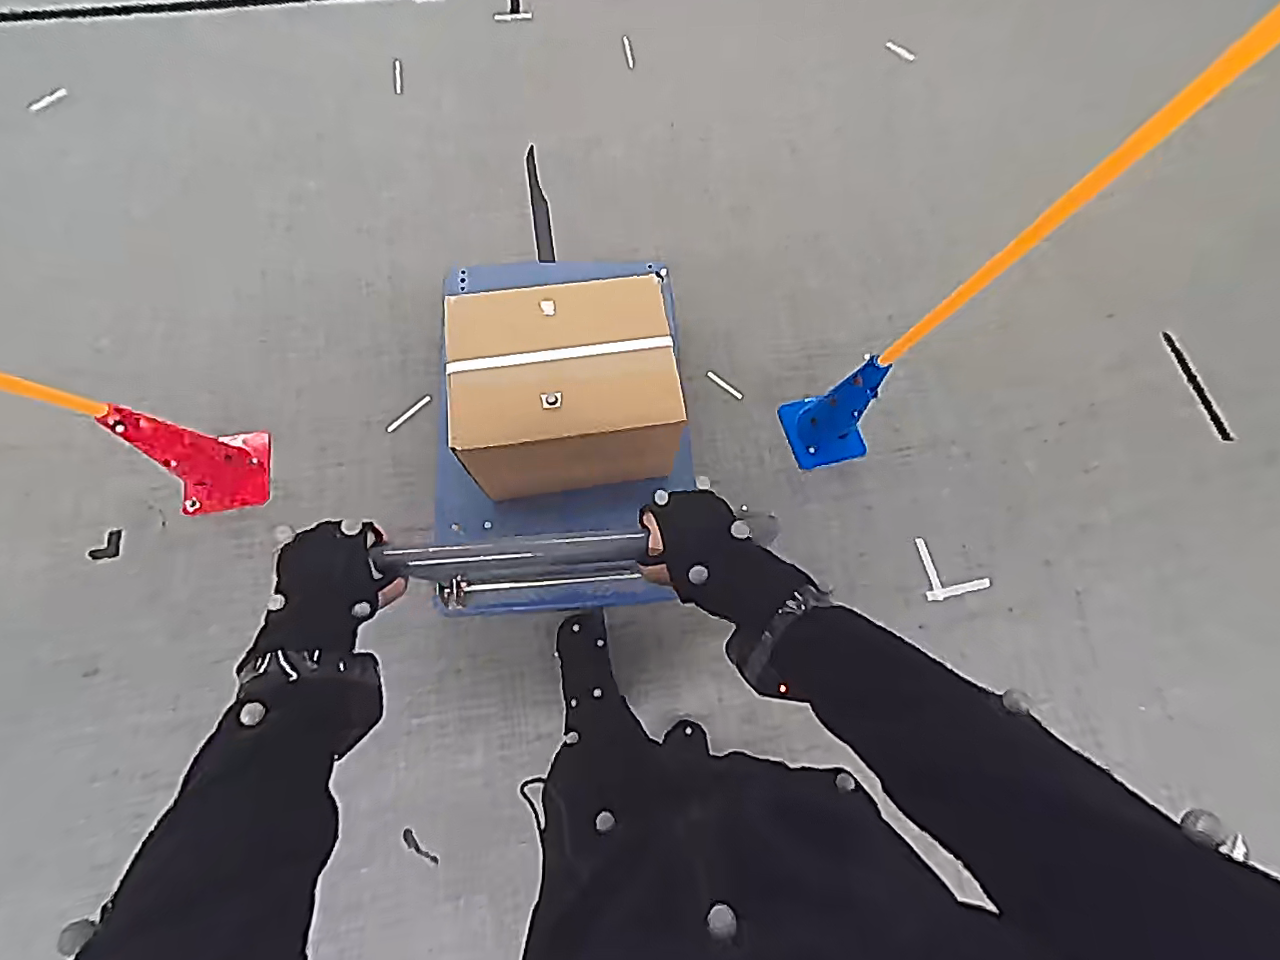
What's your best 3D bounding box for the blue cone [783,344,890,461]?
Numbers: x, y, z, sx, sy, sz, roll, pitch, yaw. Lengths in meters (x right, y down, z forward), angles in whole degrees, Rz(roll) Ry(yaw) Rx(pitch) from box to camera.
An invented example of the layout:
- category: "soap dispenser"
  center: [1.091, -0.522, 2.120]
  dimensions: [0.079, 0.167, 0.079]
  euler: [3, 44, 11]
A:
- category: "blue cone"
  center: [0.511, -0.202, 1.321]
  dimensions: [0.193, 0.380, 0.192]
  euler: [-12, 71, -7]
